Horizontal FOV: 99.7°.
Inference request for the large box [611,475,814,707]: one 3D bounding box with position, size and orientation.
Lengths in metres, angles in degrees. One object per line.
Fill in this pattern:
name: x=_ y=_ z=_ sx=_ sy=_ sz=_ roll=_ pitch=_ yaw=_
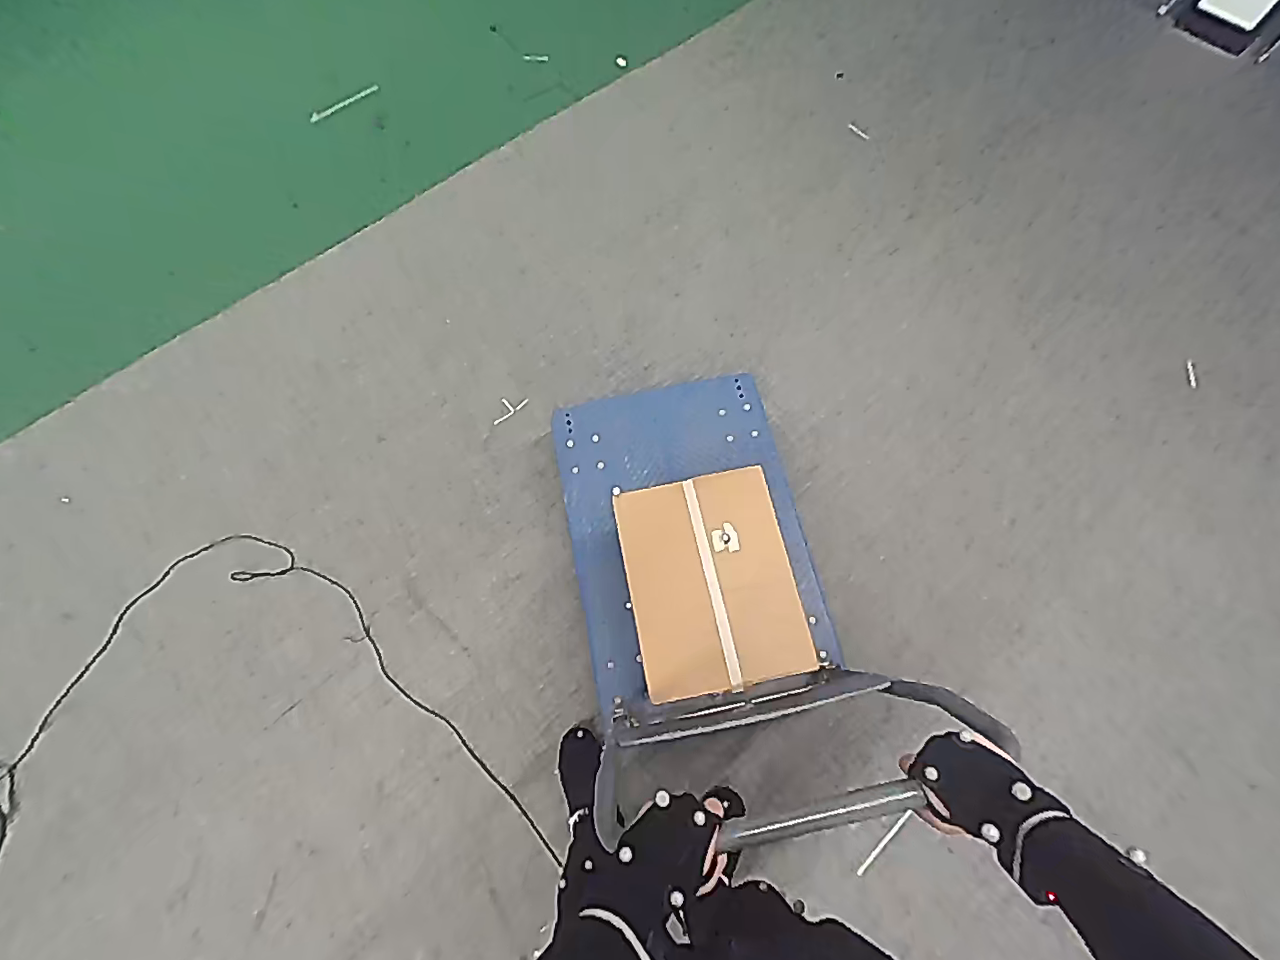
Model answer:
large box: x=0.140 y=0.252 z=1.192 sx=0.320 sy=0.320 sz=0.408 roll=-12 pitch=70 yaw=-2
